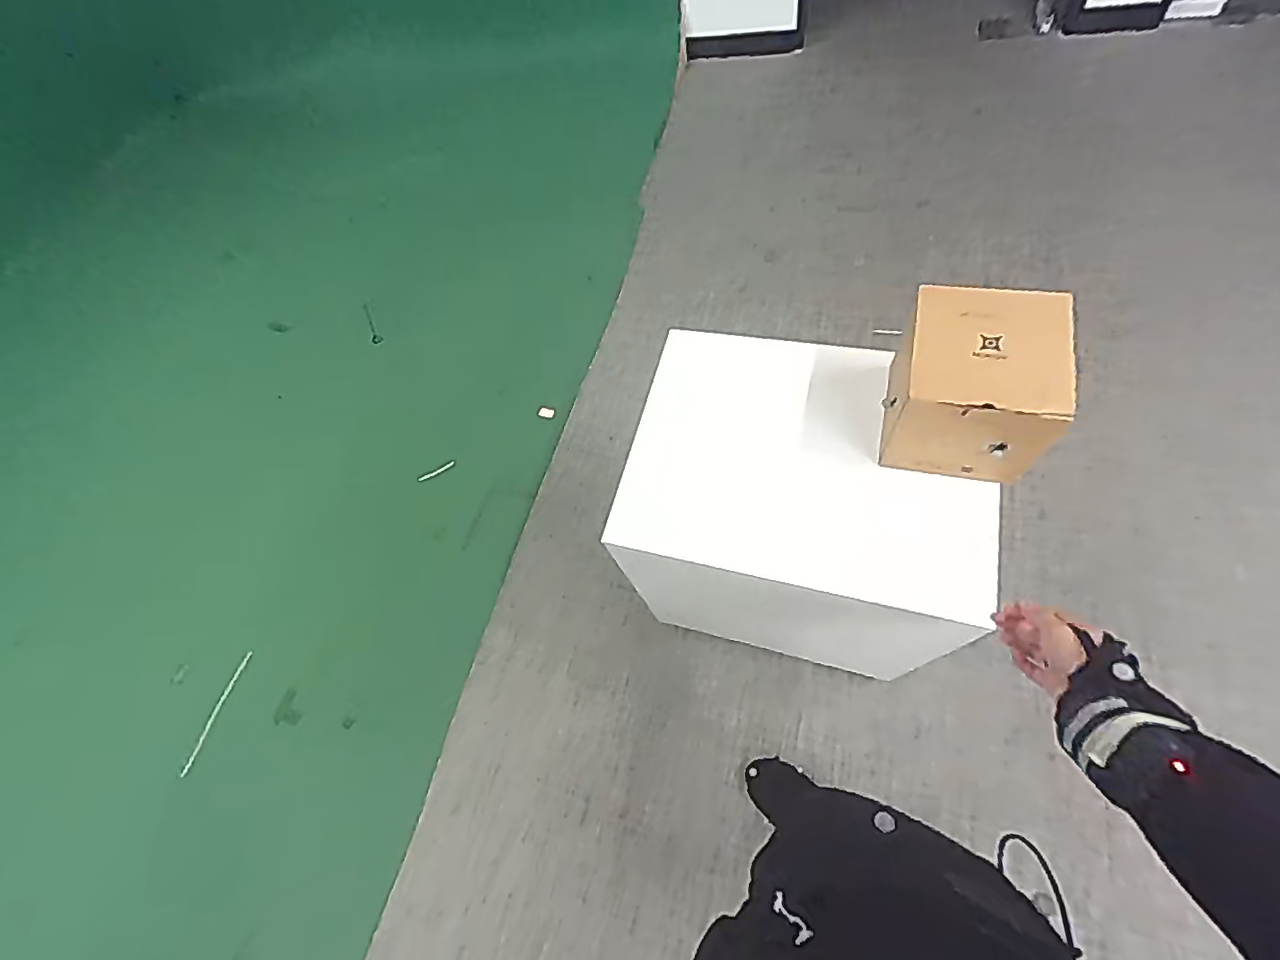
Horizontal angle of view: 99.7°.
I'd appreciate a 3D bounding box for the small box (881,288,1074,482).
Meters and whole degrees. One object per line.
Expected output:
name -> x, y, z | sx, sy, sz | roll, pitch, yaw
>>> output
small box -> 0.416, -0.115, 0.690 | 0.168, 0.176, 0.179 | 10, 65, 16
